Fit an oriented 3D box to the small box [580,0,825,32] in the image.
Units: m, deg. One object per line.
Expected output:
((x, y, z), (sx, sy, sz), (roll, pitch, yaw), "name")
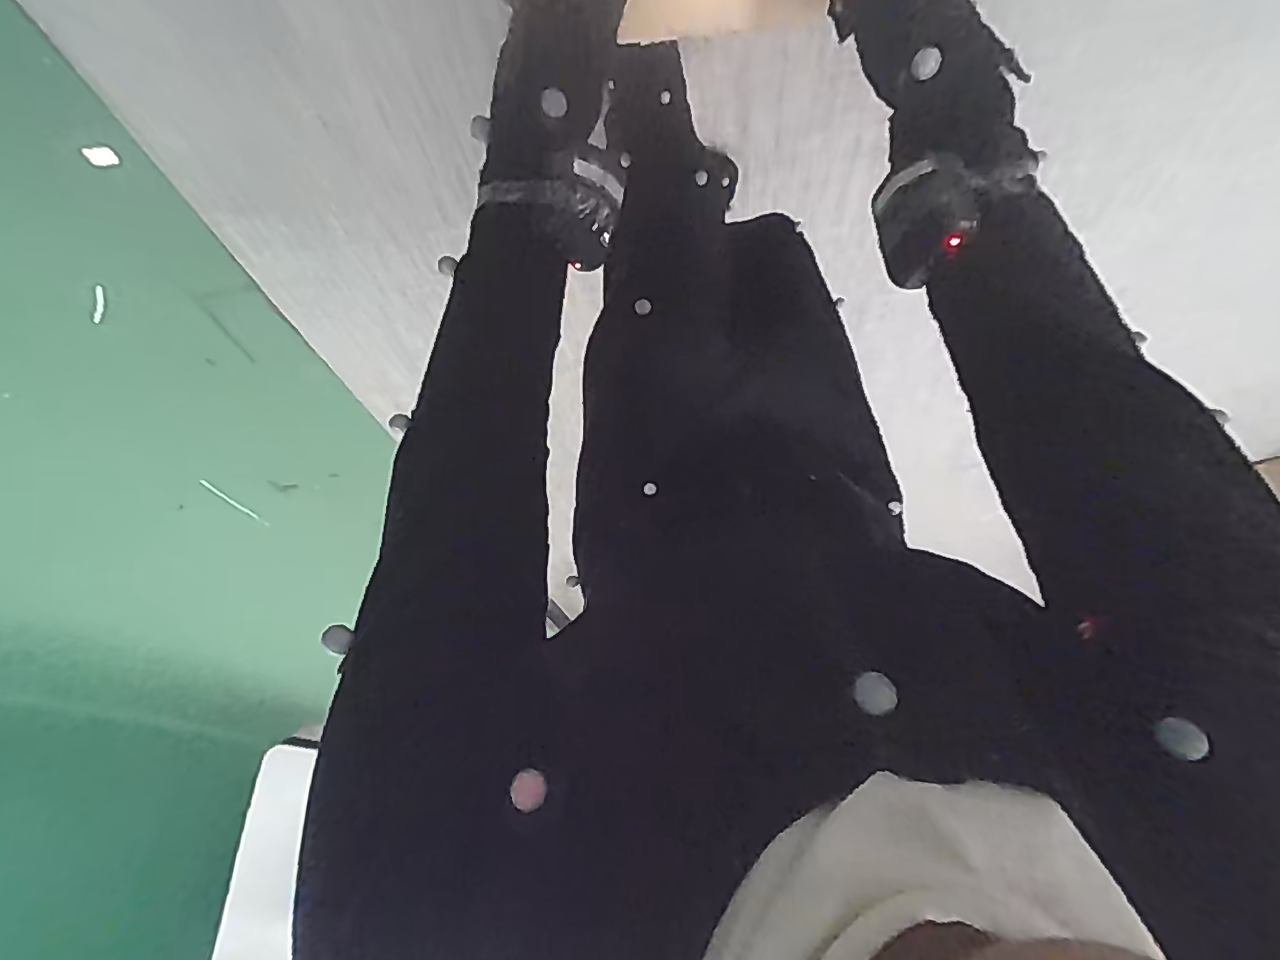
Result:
((0.038, -0.438, 0.366), (0.179, 0.176, 0.168), (-7, 147, -7), "small box")
